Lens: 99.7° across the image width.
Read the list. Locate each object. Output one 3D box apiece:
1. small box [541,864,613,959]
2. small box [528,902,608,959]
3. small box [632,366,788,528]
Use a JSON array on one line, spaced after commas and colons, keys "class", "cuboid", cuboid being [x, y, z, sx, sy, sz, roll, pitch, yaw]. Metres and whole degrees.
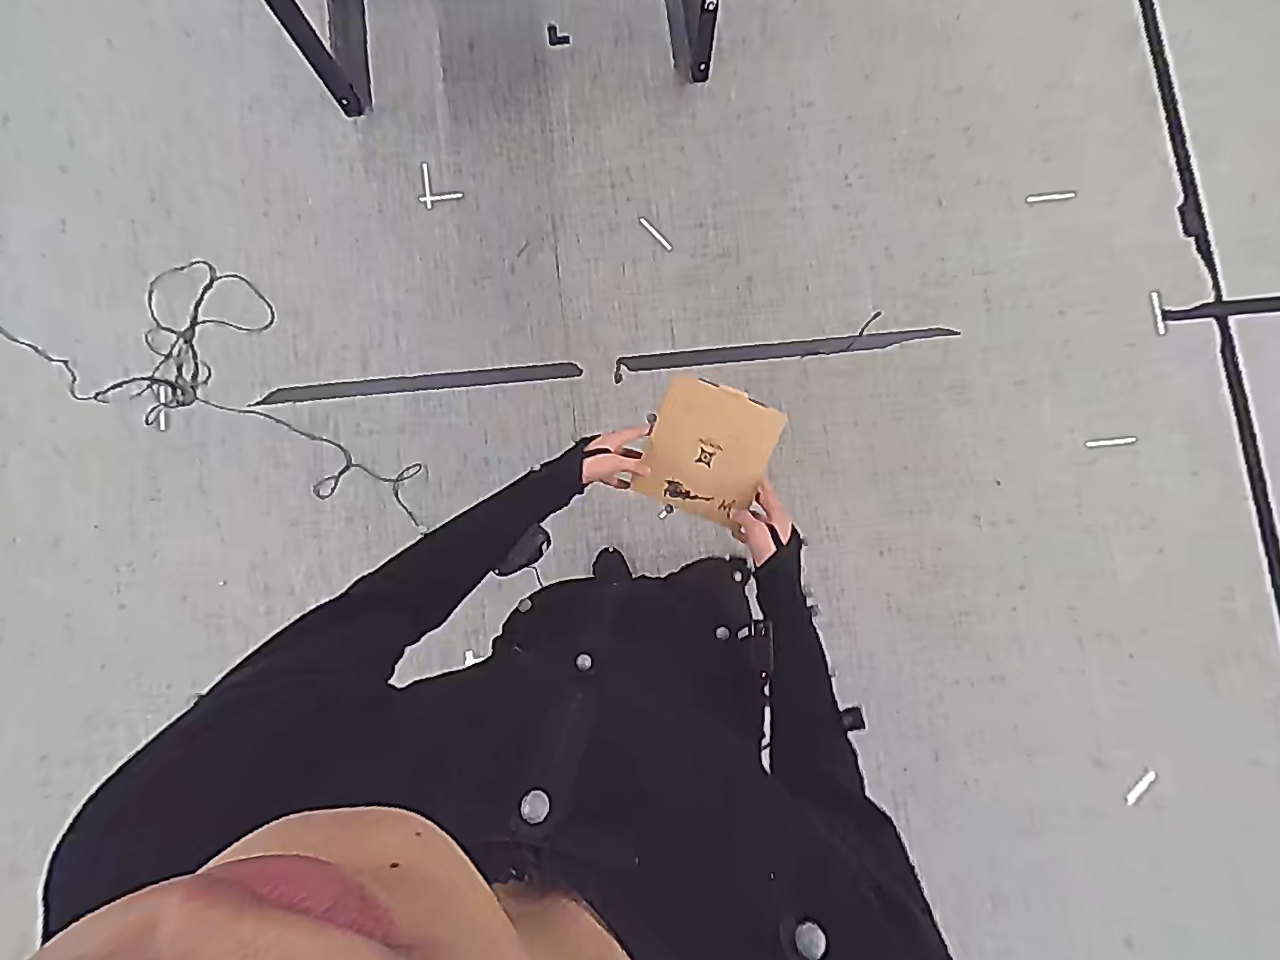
[{"class": "small box", "cuboid": [-0.166, 1.191, 1.469, 0.168, 0.176, 0.179, -6, 85, -1]}, {"class": "small box", "cuboid": [-0.168, 1.173, 1.305, 0.168, 0.176, 0.179, -6, 86, -1]}, {"class": "small box", "cuboid": [0.091, -0.049, 0.801, 0.168, 0.176, 0.179, 21, 95, -2]}]
